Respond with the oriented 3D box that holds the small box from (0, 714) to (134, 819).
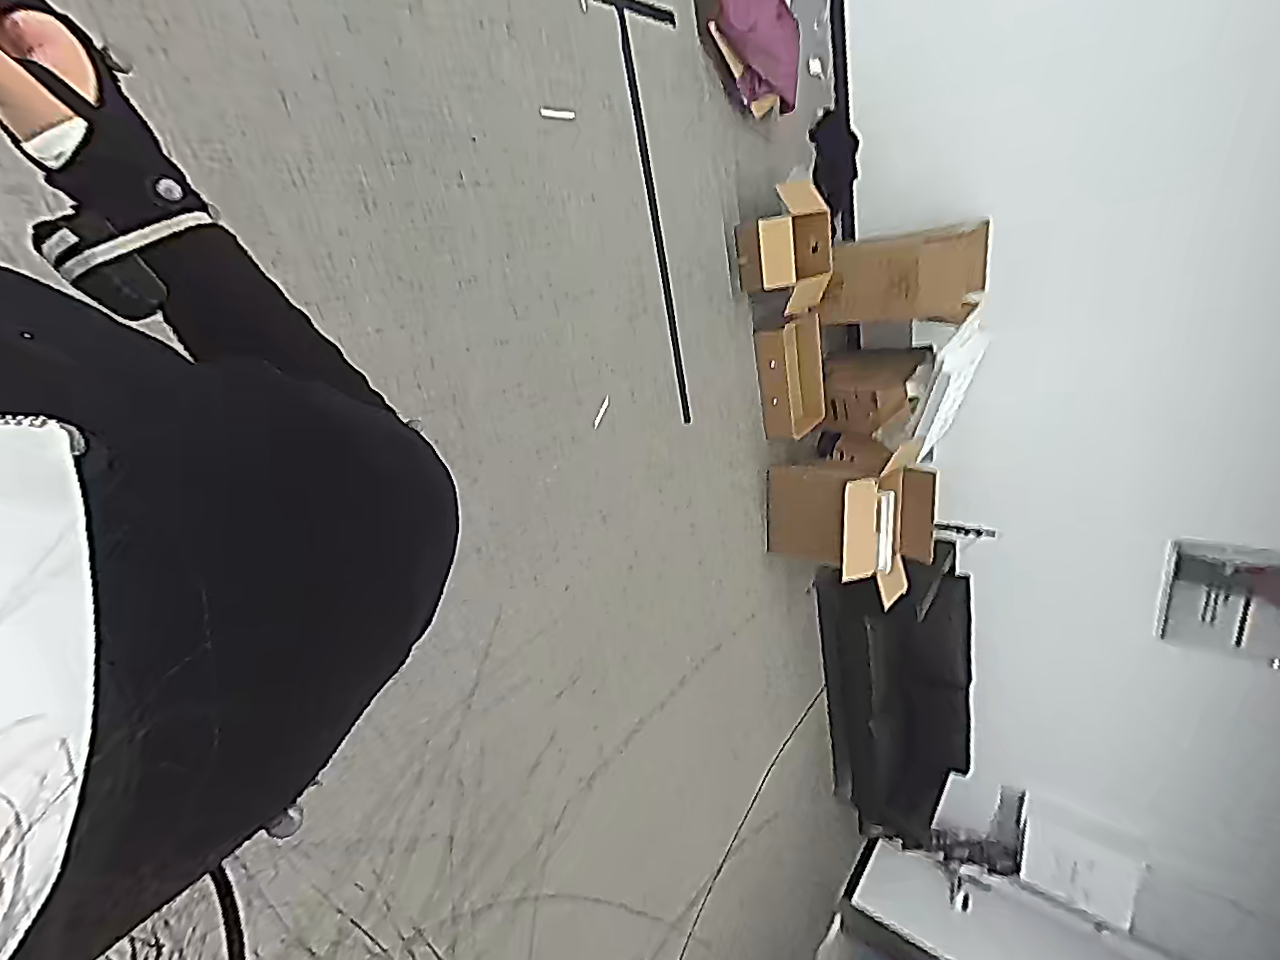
[{"bbox_3d":[-0.976,0.513,0.877,0.179,0.176,0.168,-30,118,-43],"label":"small box"}]
